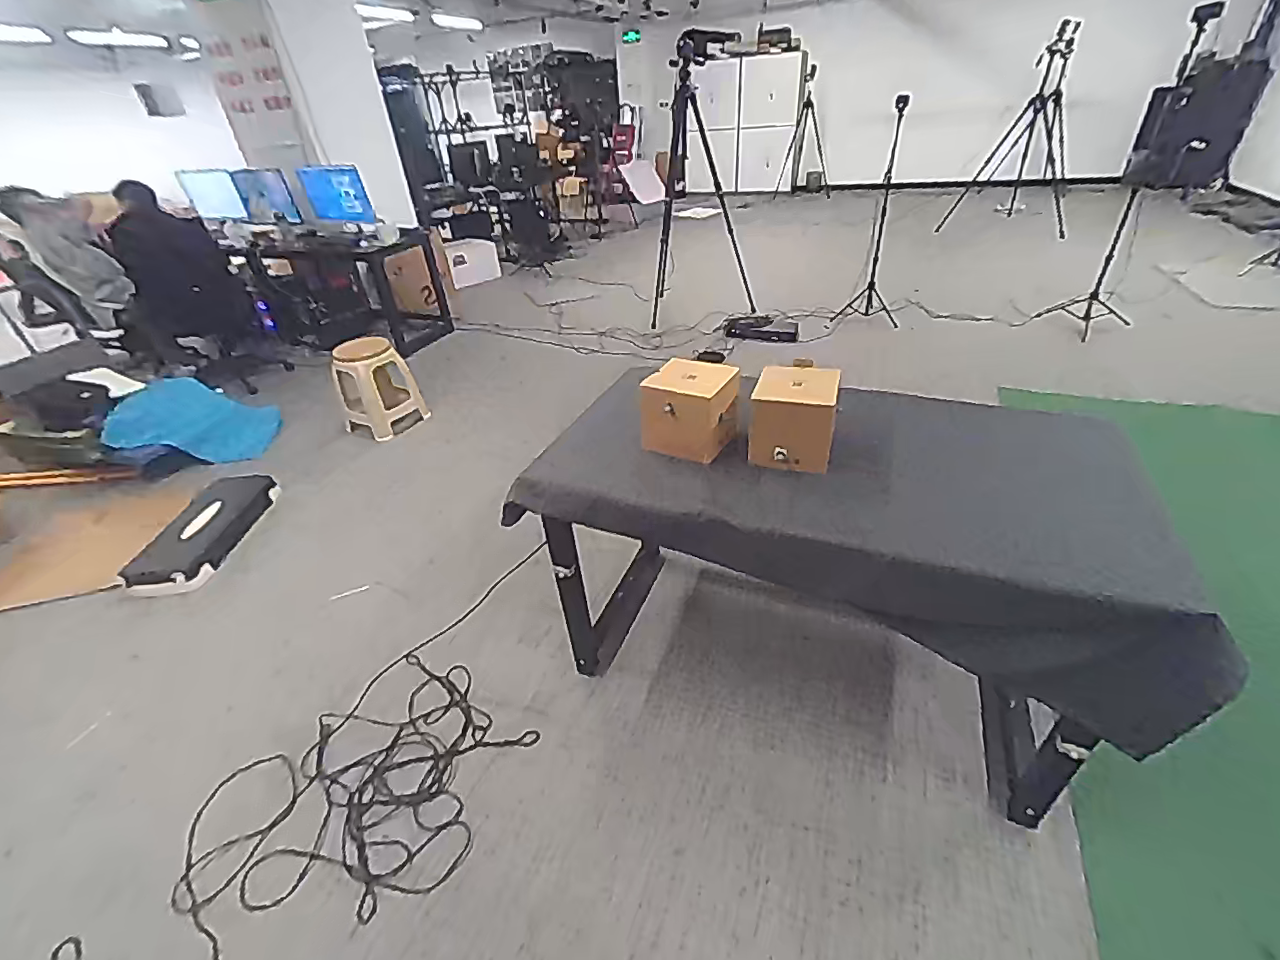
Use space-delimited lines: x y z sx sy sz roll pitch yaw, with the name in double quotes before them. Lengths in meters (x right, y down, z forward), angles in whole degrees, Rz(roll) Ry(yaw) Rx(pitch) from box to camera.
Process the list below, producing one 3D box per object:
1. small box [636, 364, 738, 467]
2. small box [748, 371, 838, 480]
"small box" 0.112 -0.149 1.243 0.179 0.176 0.168 15 39 27
"small box" 0.332 -0.122 1.181 0.168 0.176 0.179 7 36 18
